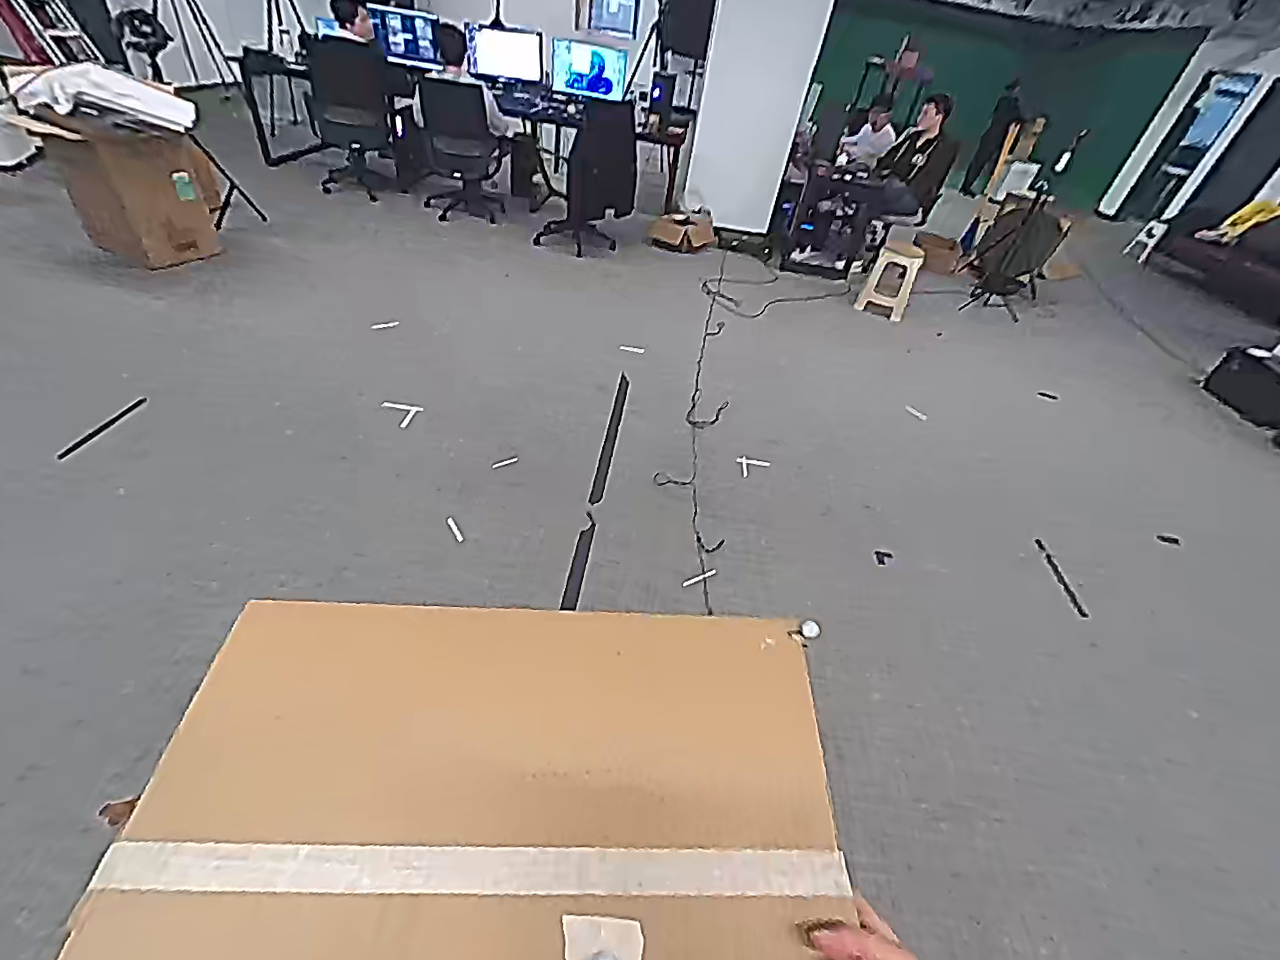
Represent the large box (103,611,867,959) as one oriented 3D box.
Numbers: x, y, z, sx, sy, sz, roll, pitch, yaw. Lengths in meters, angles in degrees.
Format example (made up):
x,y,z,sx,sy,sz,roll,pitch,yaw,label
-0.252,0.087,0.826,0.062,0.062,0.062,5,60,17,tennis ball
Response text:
x,y,z,sx,sy,sz,roll,pitch,yaw,label
-0.085,0.319,0.423,0.408,0.320,0.320,4,51,-3,large box
